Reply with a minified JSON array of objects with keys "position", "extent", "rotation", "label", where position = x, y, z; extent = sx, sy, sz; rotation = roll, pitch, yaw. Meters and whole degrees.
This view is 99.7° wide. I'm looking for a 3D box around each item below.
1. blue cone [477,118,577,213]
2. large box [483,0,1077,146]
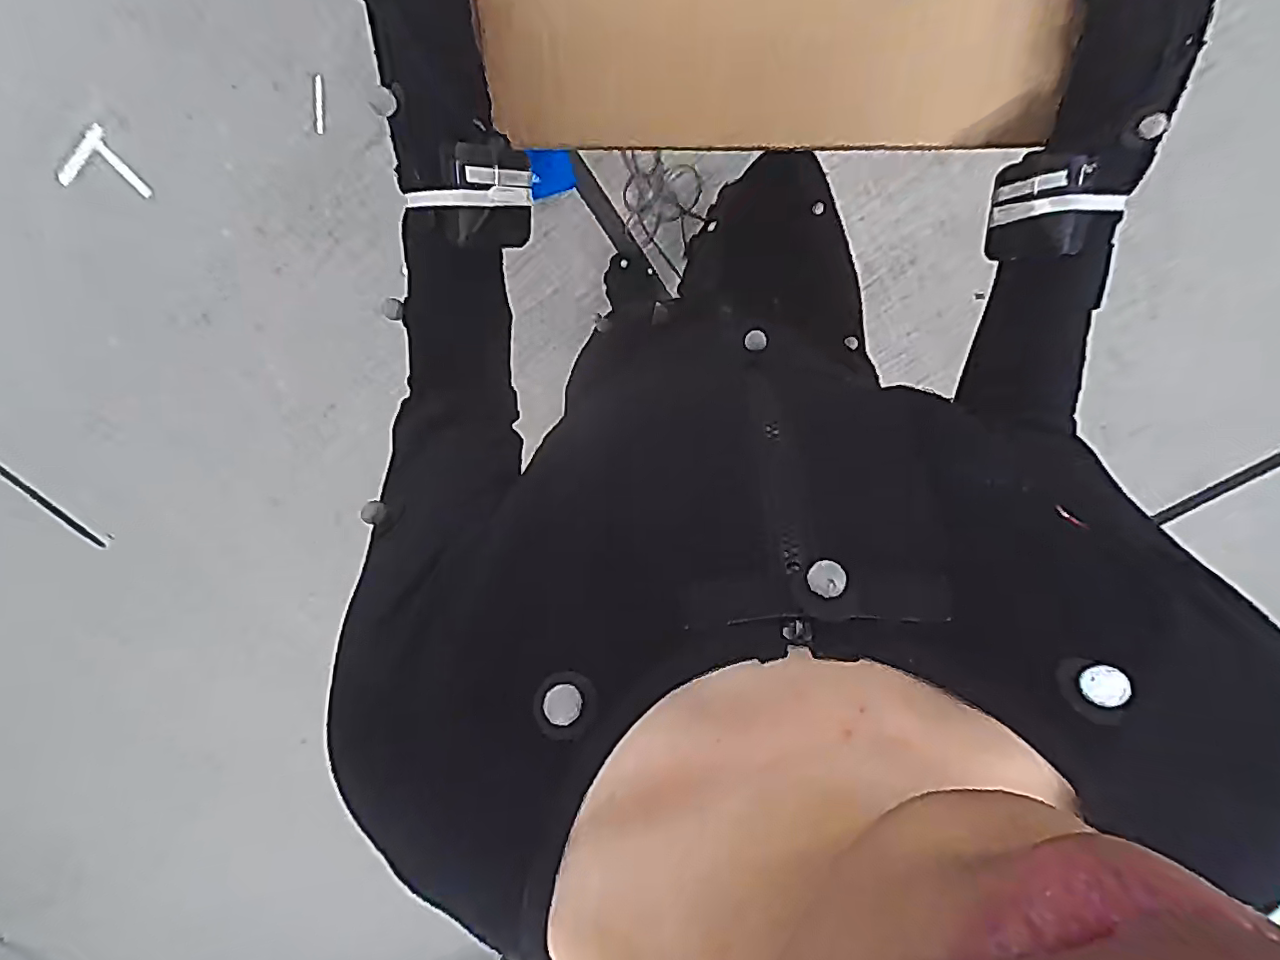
[{"position":[-0.262,-0.668,1.091],"extent":[0.193,0.380,0.192],"rotation":[-13,114,8],"label":"blue cone"},{"position":[0.089,-0.462,0.444],"extent":[0.408,0.320,0.320],"rotation":[0,122,-1],"label":"large box"}]
